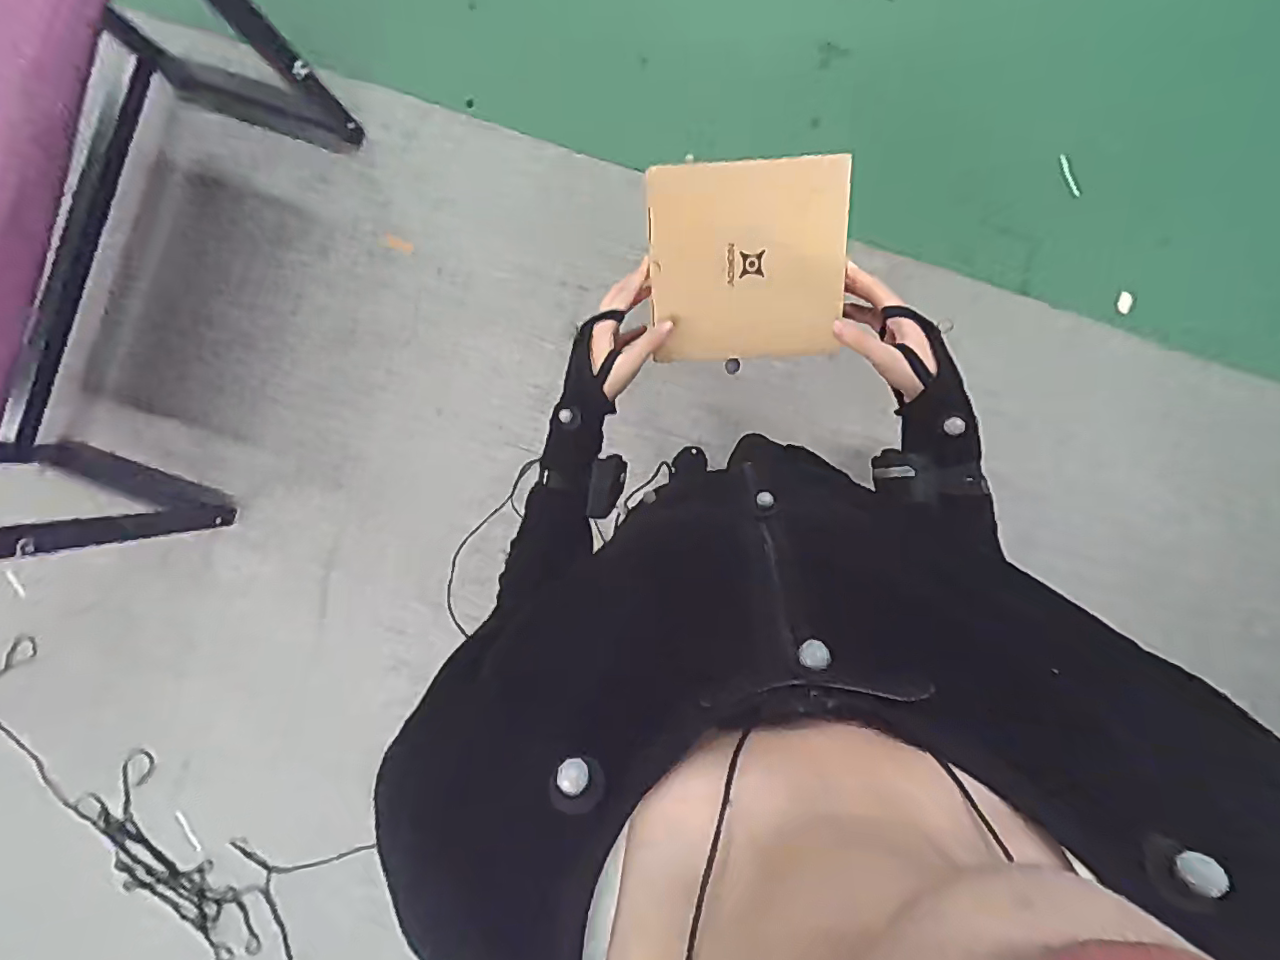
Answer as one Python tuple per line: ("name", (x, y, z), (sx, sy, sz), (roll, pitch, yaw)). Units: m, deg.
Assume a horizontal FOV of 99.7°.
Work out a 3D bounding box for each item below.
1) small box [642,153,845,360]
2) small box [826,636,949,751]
("small box", (0.097, -0.219, 0.561), (0.179, 0.176, 0.168), (-3, 106, 5))
("small box", (0.548, 0.471, 1.218), (0.179, 0.176, 0.168), (16, 92, 2))
